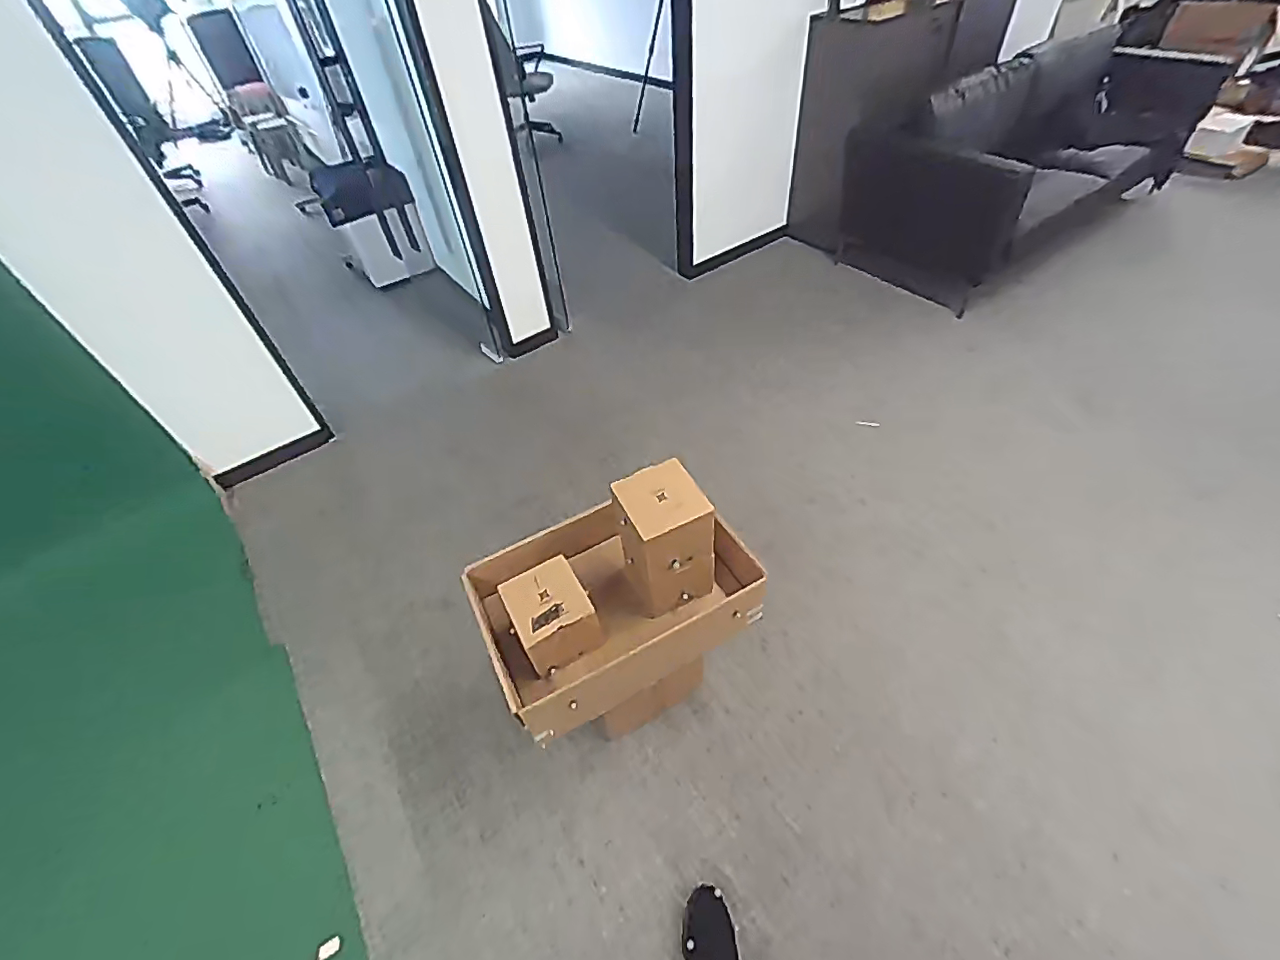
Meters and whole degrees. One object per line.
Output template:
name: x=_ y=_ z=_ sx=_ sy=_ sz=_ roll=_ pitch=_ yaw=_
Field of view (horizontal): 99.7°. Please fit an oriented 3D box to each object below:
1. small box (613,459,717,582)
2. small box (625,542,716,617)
small box: x=0.052 y=0.091 z=1.187 sx=0.168 sy=0.176 sz=0.179 roll=-22 pitch=50 yaw=-14
small box: x=0.068 y=0.197 z=1.309 sx=0.168 sy=0.176 sz=0.179 roll=-21 pitch=50 yaw=-13
